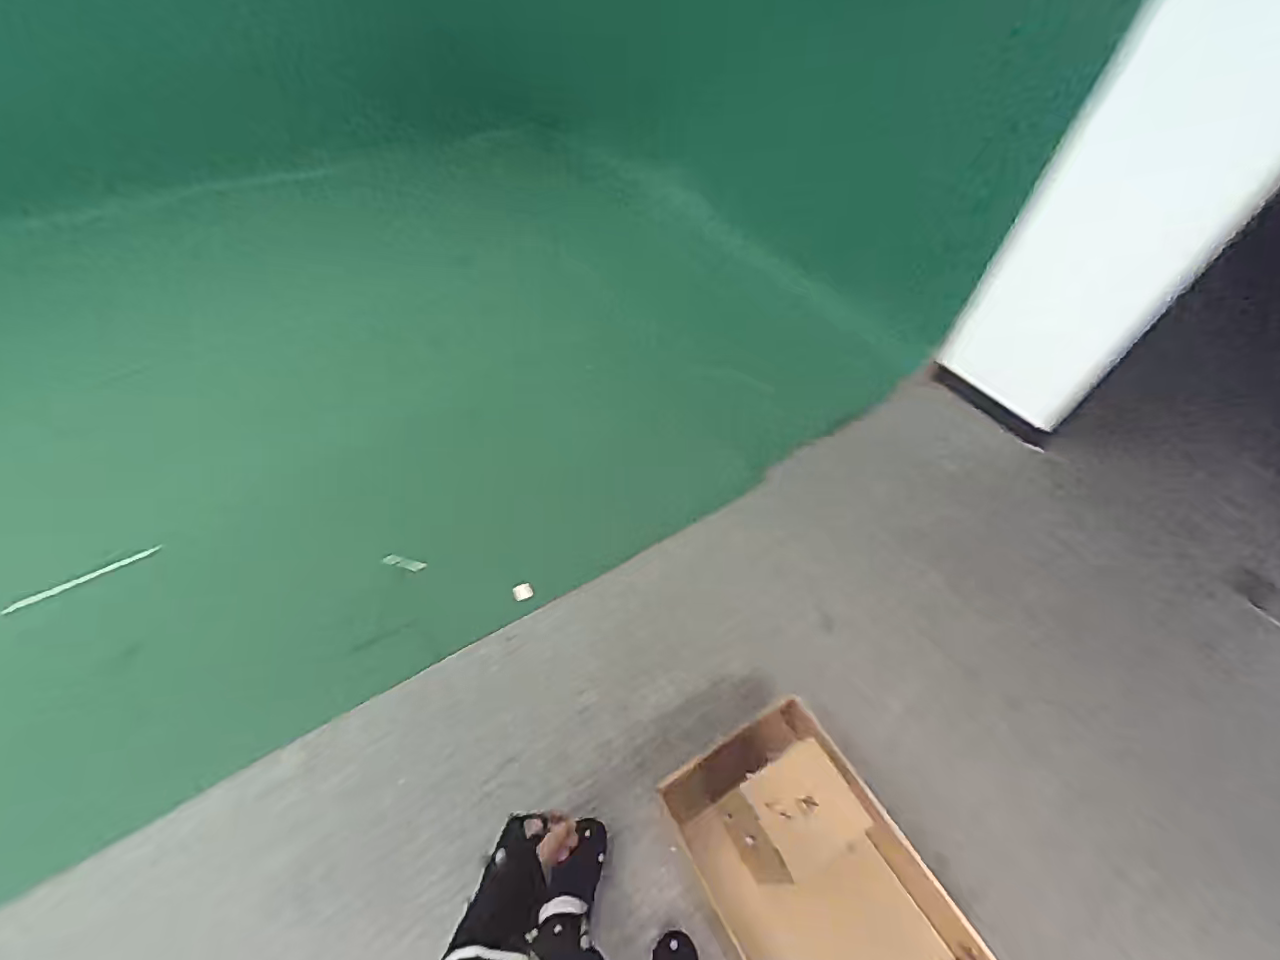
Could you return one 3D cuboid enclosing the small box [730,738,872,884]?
[{"bbox_3d":[0.288,0.619,1.013,0.179,0.176,0.168,-23,56,-16],"label":"small box"}]
